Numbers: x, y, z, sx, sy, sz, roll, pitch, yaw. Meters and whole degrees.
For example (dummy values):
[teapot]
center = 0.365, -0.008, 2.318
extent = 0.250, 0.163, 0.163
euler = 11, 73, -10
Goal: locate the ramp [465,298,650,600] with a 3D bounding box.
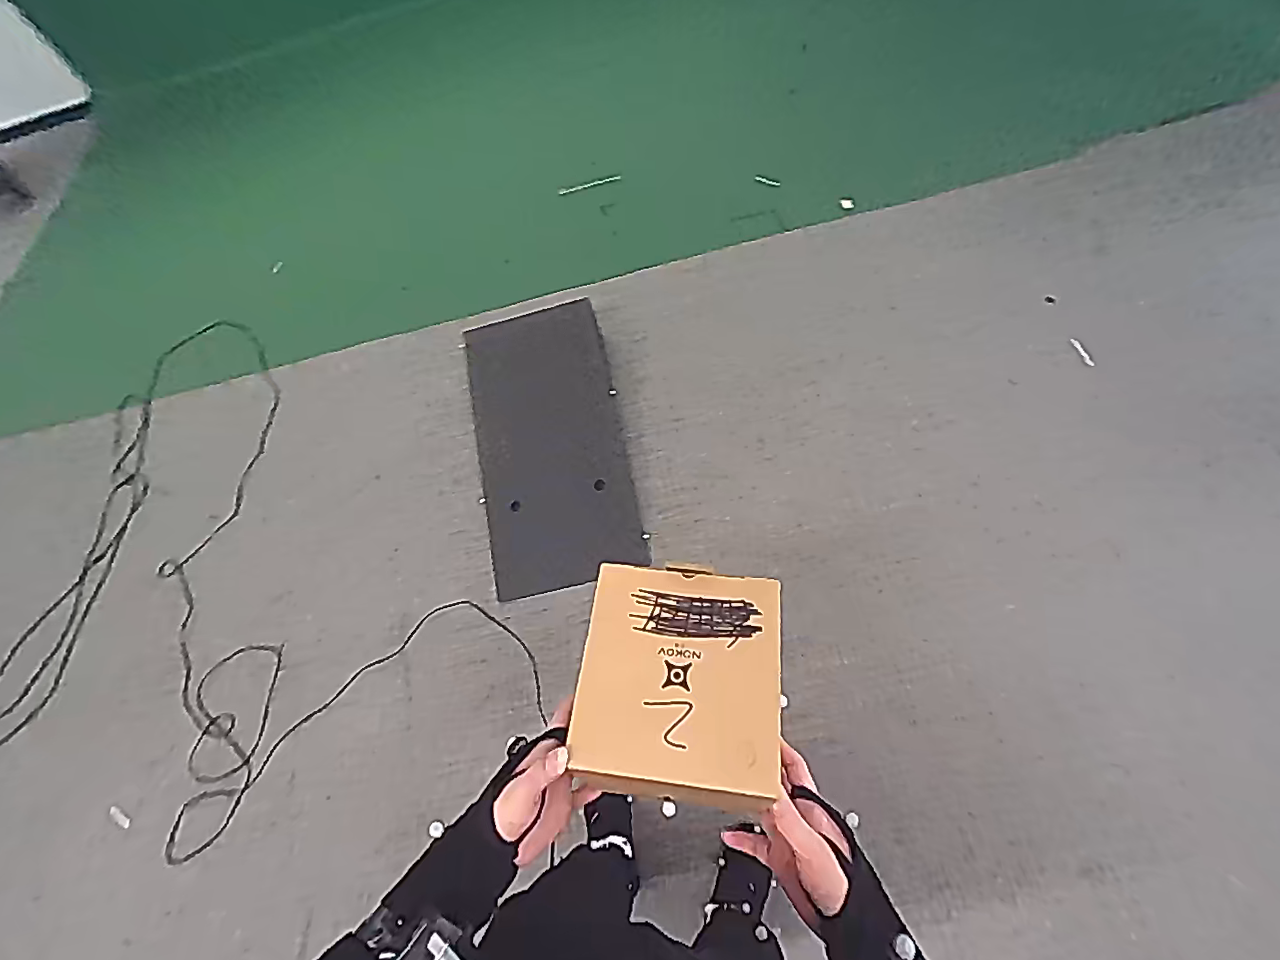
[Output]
[ramp]
center = -0.302, -0.143, 1.819
extent = 0.509, 0.206, 0.991
euler = -15, 61, 2
